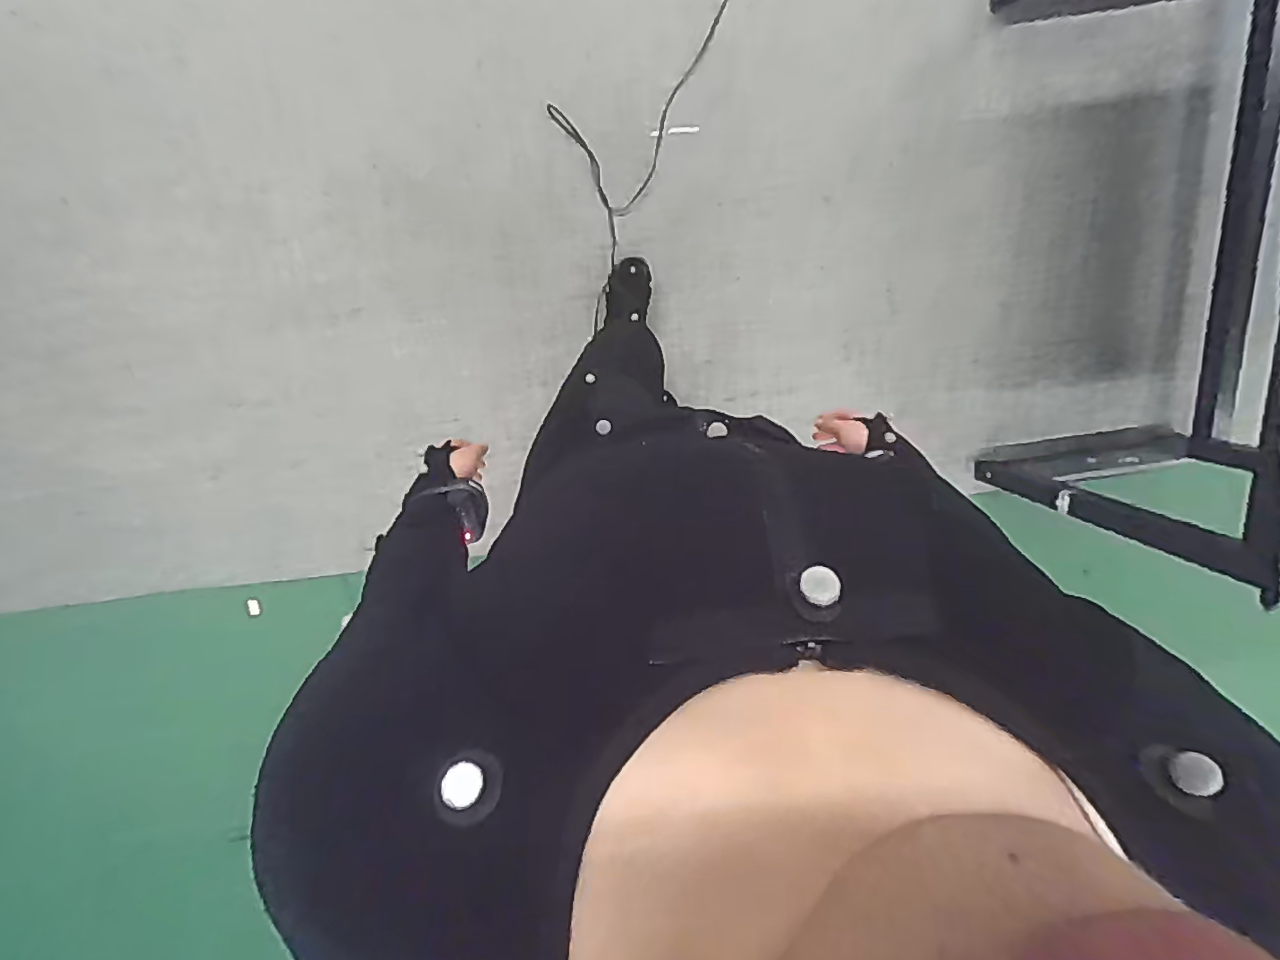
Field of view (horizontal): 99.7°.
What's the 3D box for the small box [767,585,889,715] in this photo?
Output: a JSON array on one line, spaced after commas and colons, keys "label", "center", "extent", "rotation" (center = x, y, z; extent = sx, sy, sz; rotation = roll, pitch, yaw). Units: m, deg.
[{"label": "small box", "center": [0.392, 0.358, 1.166], "extent": [0.179, 0.176, 0.168], "rotation": [-30, 102, 5]}]
